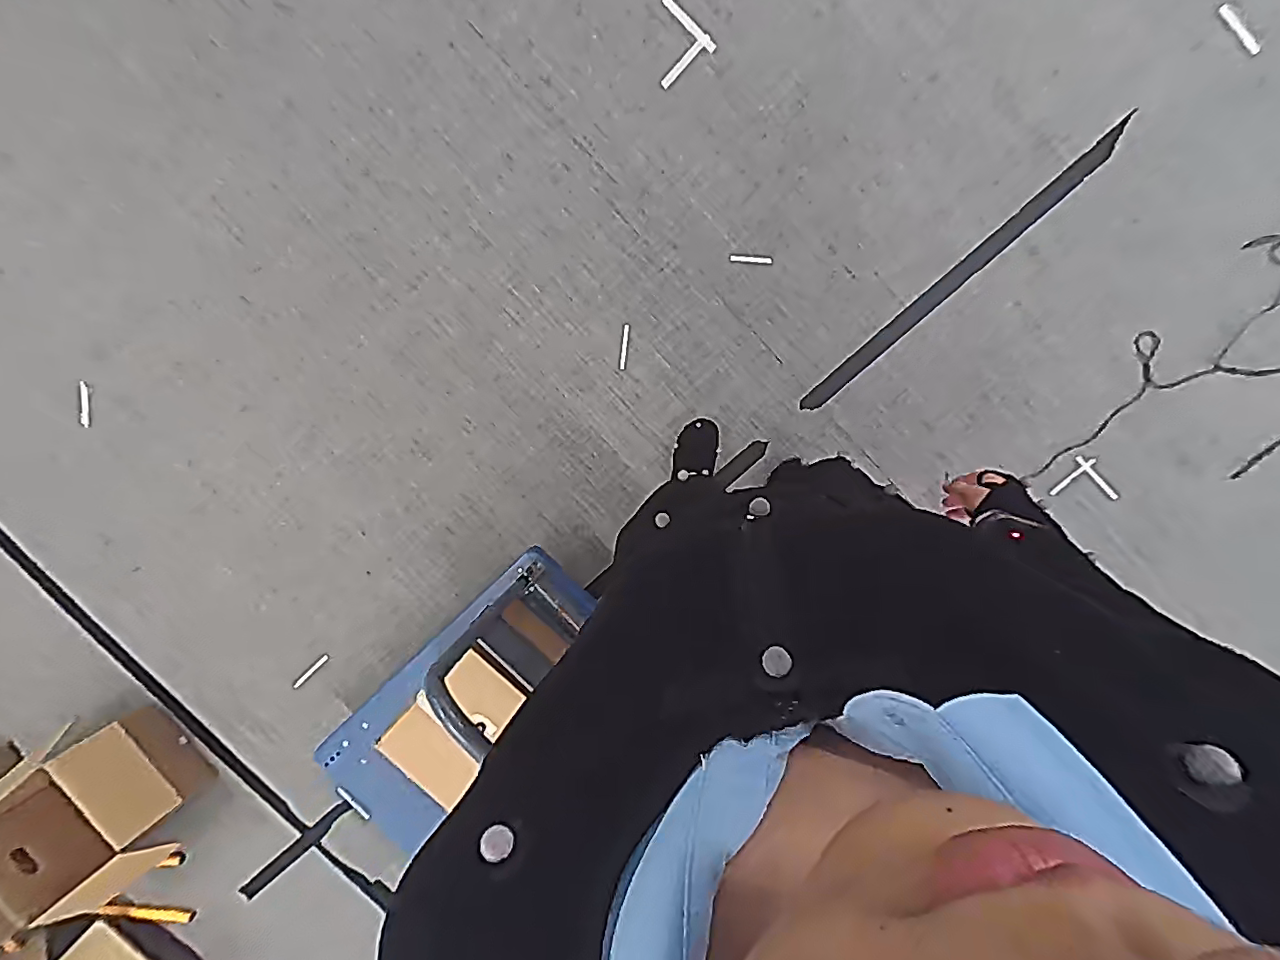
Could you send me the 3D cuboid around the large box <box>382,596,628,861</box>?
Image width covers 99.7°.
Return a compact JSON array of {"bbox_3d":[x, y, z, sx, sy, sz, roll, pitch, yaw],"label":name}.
[{"bbox_3d":[-0.284,0.552,1.265,0.408,0.320,0.320,42,97,-1],"label":"large box"}]
